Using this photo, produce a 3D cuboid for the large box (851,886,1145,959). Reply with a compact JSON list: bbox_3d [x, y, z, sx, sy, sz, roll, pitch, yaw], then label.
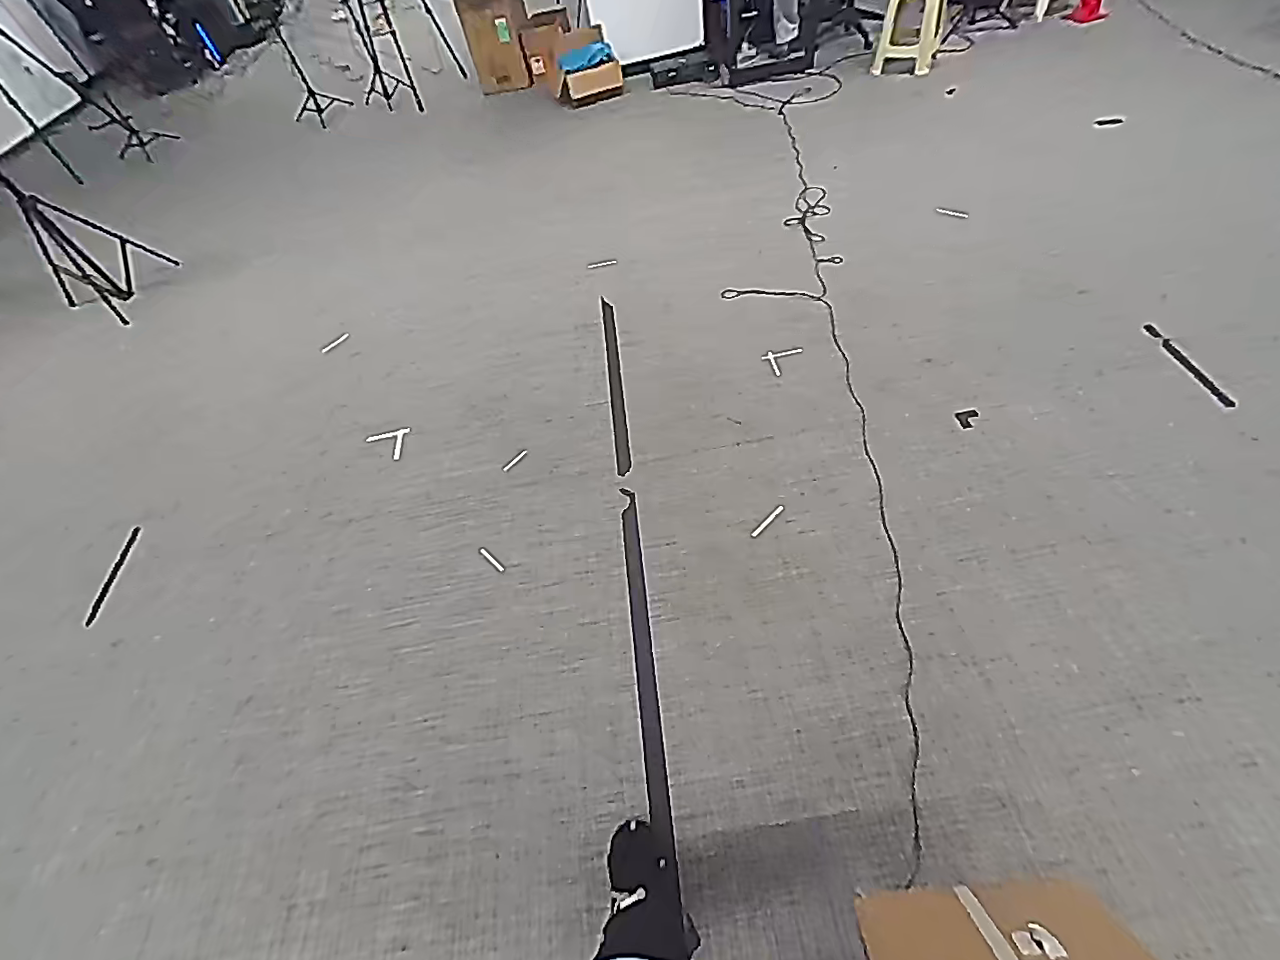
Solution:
[{"bbox_3d":[0.462,0.725,0.579,0.320,0.408,0.320,-11,77,8],"label":"large box"}]
